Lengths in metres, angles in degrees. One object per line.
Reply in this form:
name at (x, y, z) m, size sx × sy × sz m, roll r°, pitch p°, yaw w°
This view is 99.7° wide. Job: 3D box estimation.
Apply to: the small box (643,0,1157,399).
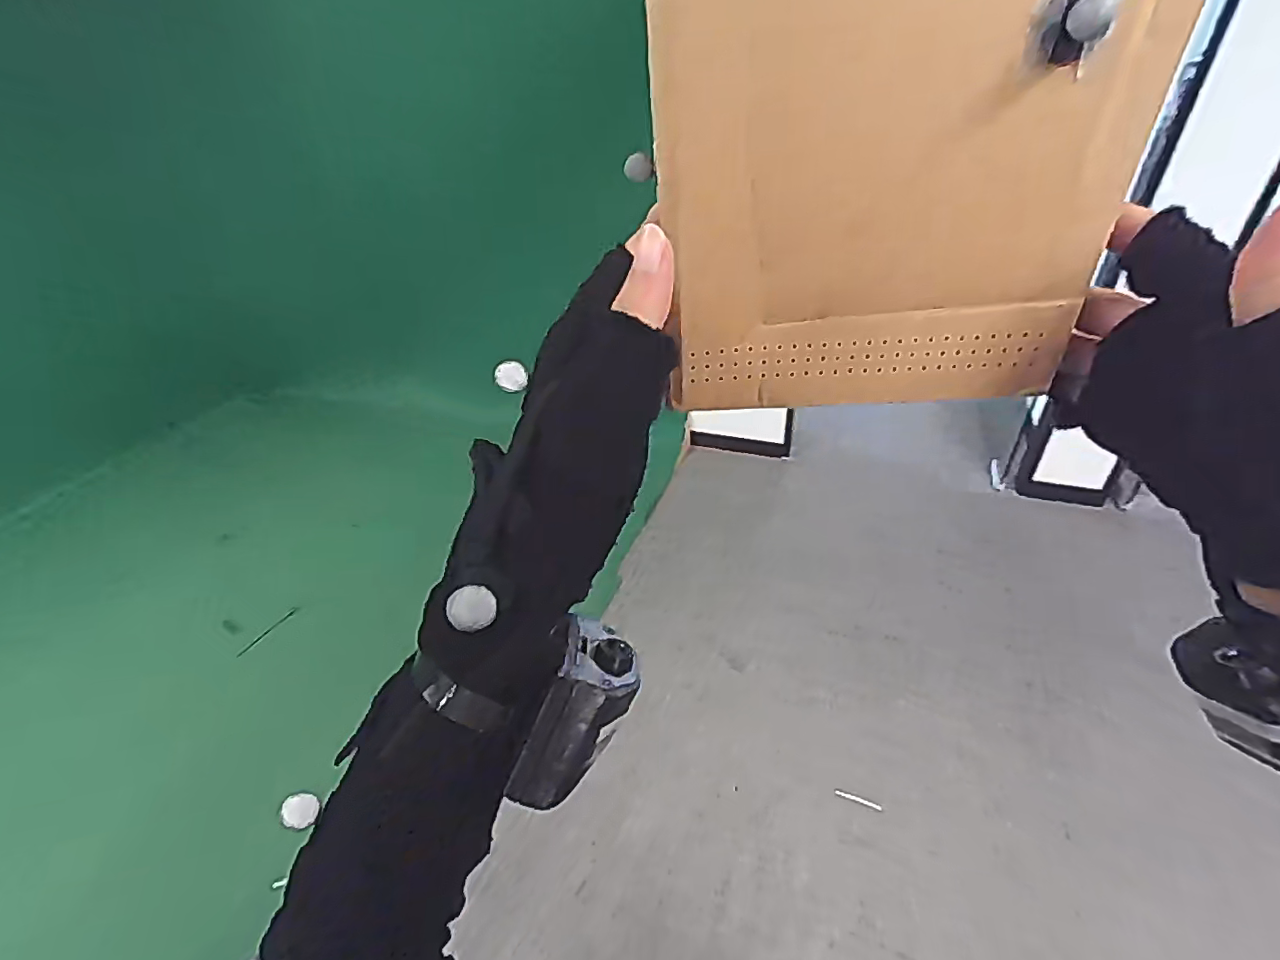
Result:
small box at (0.096, -0.149, 0.276) m, size 0.179 × 0.176 × 0.168 m, roll -2°, pitch 35°, yaw 3°
